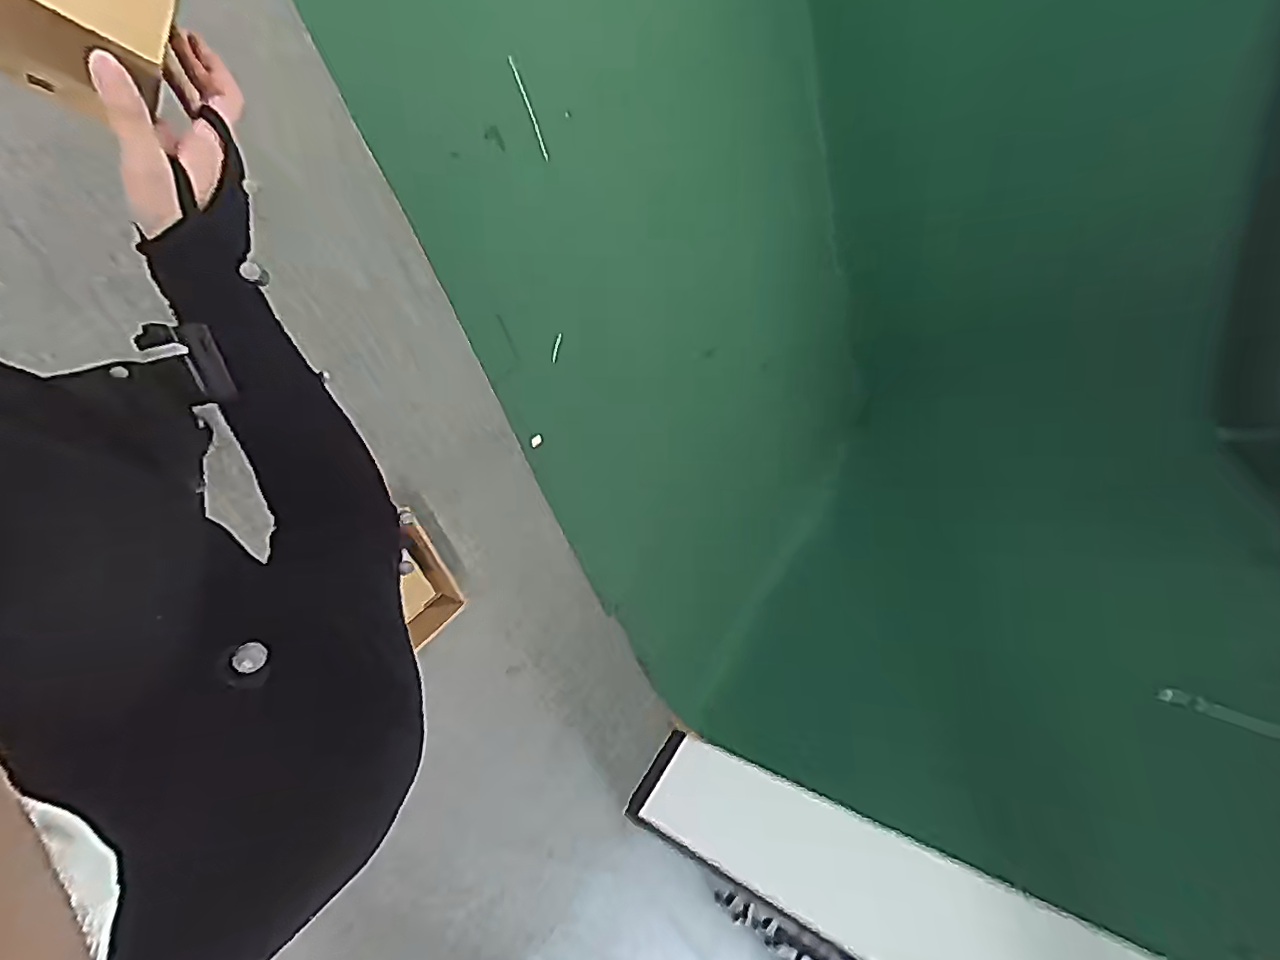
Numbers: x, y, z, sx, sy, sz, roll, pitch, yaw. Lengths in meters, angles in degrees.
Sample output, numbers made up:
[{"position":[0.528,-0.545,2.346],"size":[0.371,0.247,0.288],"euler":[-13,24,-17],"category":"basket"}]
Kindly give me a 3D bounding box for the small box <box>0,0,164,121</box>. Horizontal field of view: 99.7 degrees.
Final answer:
[{"position":[-0.417,-0.381,0.349],"size":[0.168,0.176,0.179],"euler":[11,89,-46],"category":"small box"}]
